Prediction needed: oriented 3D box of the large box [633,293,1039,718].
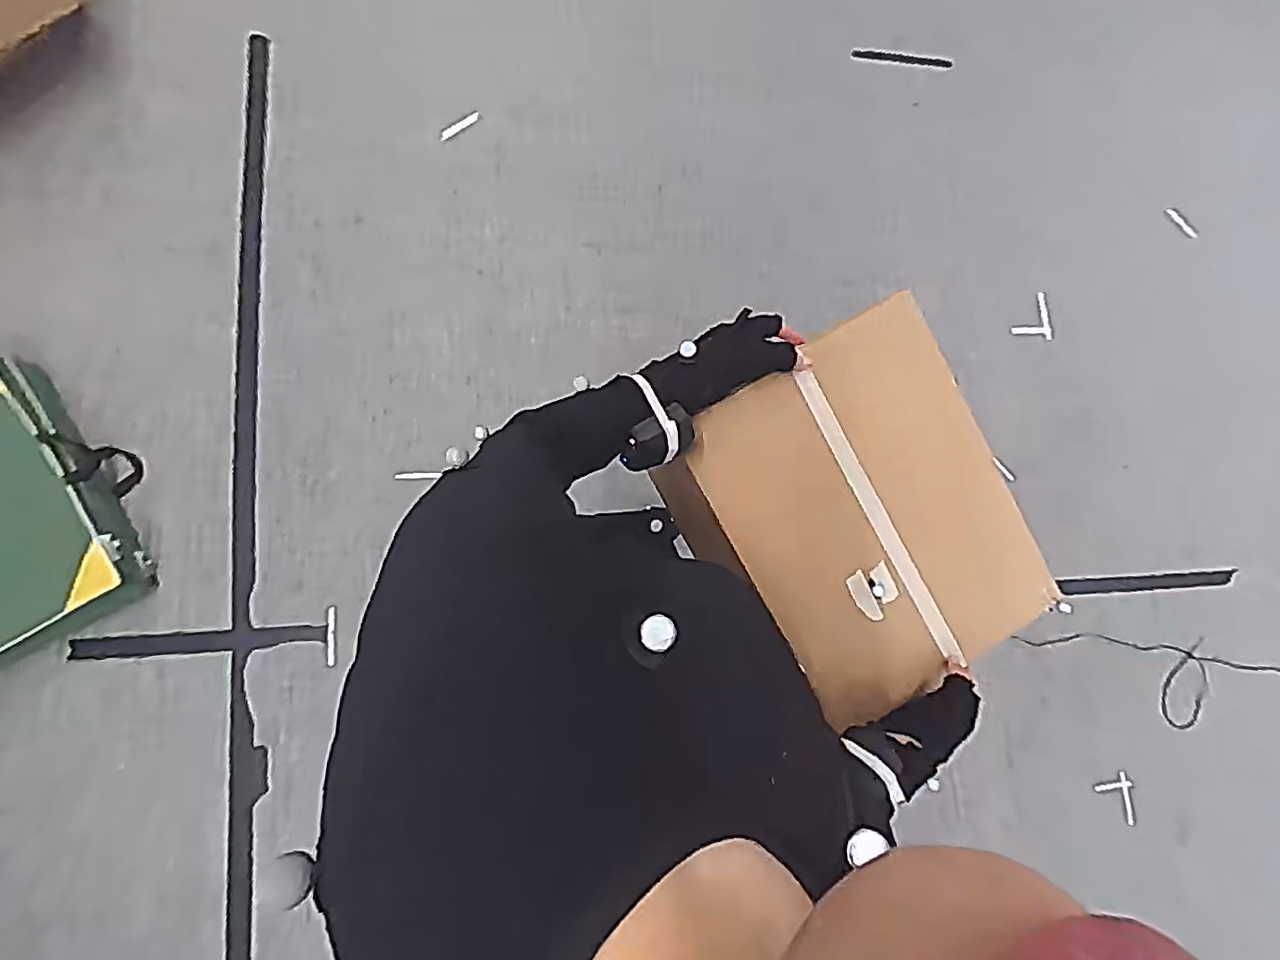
[{"bbox_3d":[0.233,0.024,0.762,0.320,0.320,0.408,-30,96,-5],"label":"large box"}]
